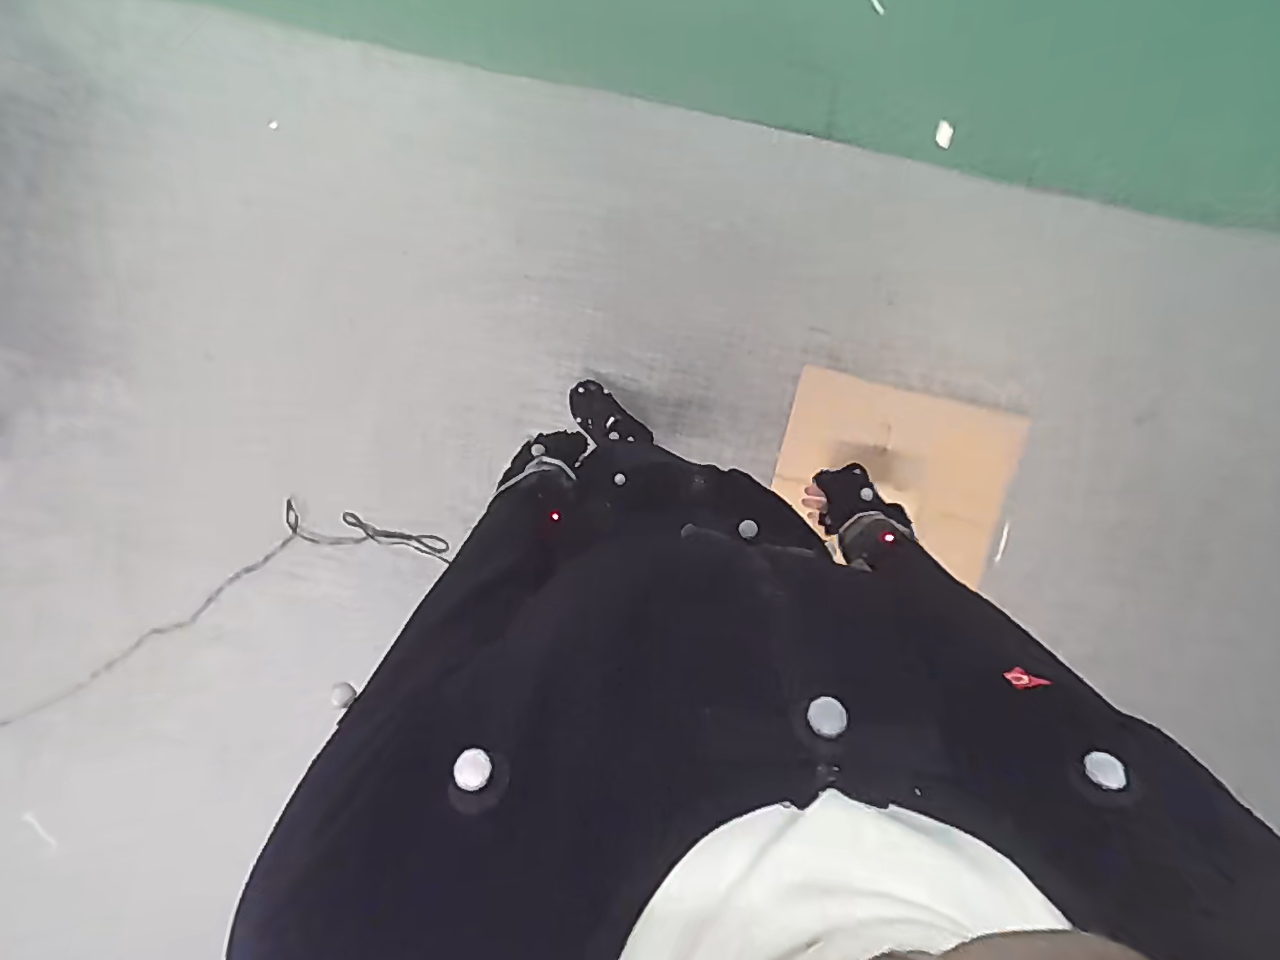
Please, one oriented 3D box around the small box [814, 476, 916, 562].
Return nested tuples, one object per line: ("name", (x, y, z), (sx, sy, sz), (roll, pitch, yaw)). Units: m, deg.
("small box", (0.549, 0.089, 1.342), (0.168, 0.176, 0.179), (9, 96, -2))
